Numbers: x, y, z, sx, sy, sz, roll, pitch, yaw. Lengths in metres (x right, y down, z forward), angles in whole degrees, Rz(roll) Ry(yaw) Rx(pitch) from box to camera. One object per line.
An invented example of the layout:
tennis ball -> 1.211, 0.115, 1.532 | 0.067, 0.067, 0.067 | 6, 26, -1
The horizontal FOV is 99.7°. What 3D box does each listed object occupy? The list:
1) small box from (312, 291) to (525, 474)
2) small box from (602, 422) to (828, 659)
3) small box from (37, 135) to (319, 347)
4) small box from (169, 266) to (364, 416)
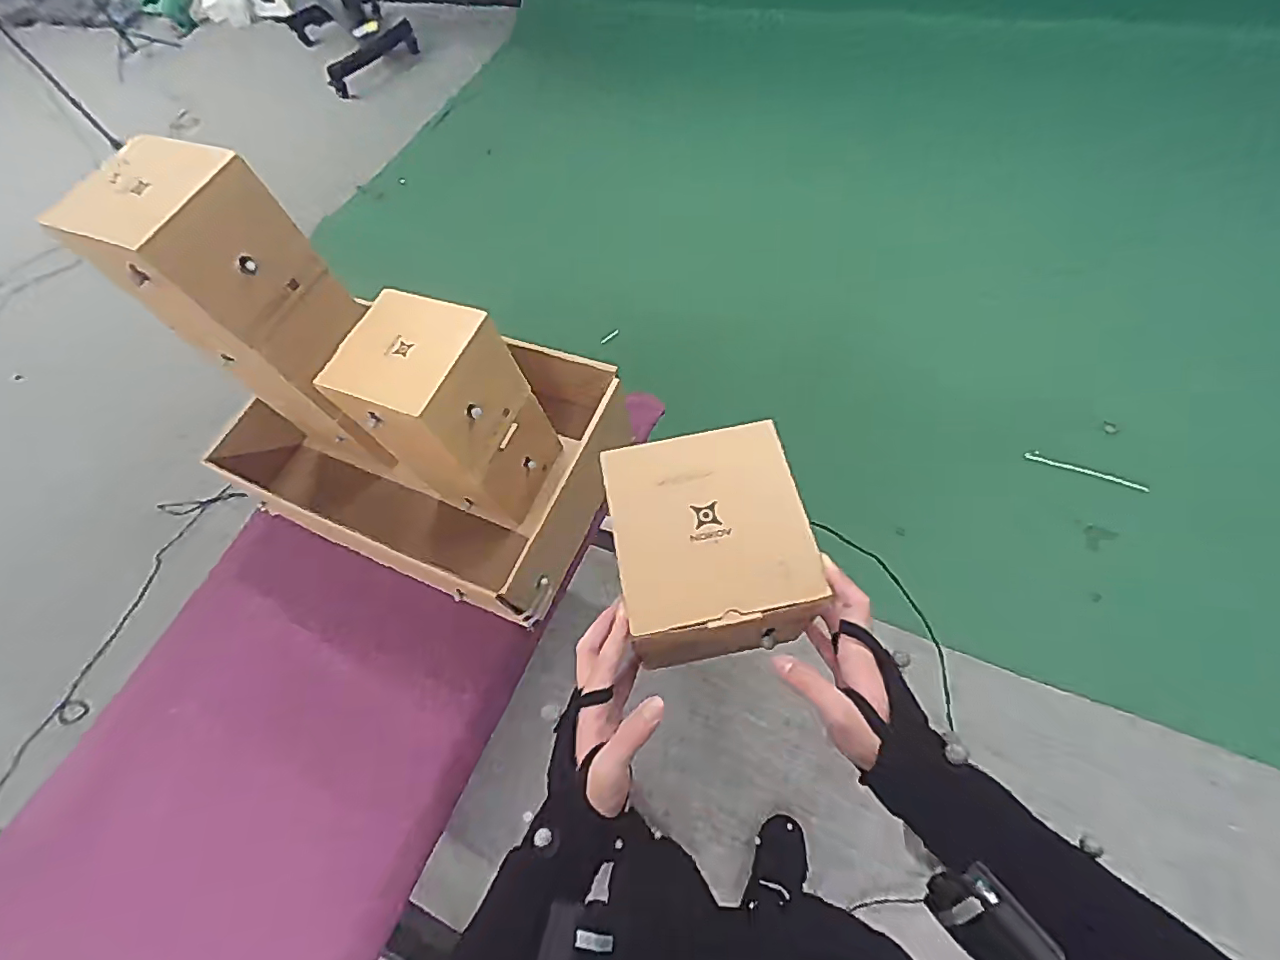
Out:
small box -> -0.287, -0.126, 0.745 | 0.179, 0.176, 0.168 | 17, 69, 19
small box -> 0.063, 0.071, 0.534 | 0.168, 0.176, 0.179 | -10, 62, -2
small box -> -0.559, -0.293, 0.683 | 0.179, 0.176, 0.168 | 19, 68, 16
small box -> -0.541, -0.221, 0.831 | 0.179, 0.176, 0.168 | 18, 68, 16
